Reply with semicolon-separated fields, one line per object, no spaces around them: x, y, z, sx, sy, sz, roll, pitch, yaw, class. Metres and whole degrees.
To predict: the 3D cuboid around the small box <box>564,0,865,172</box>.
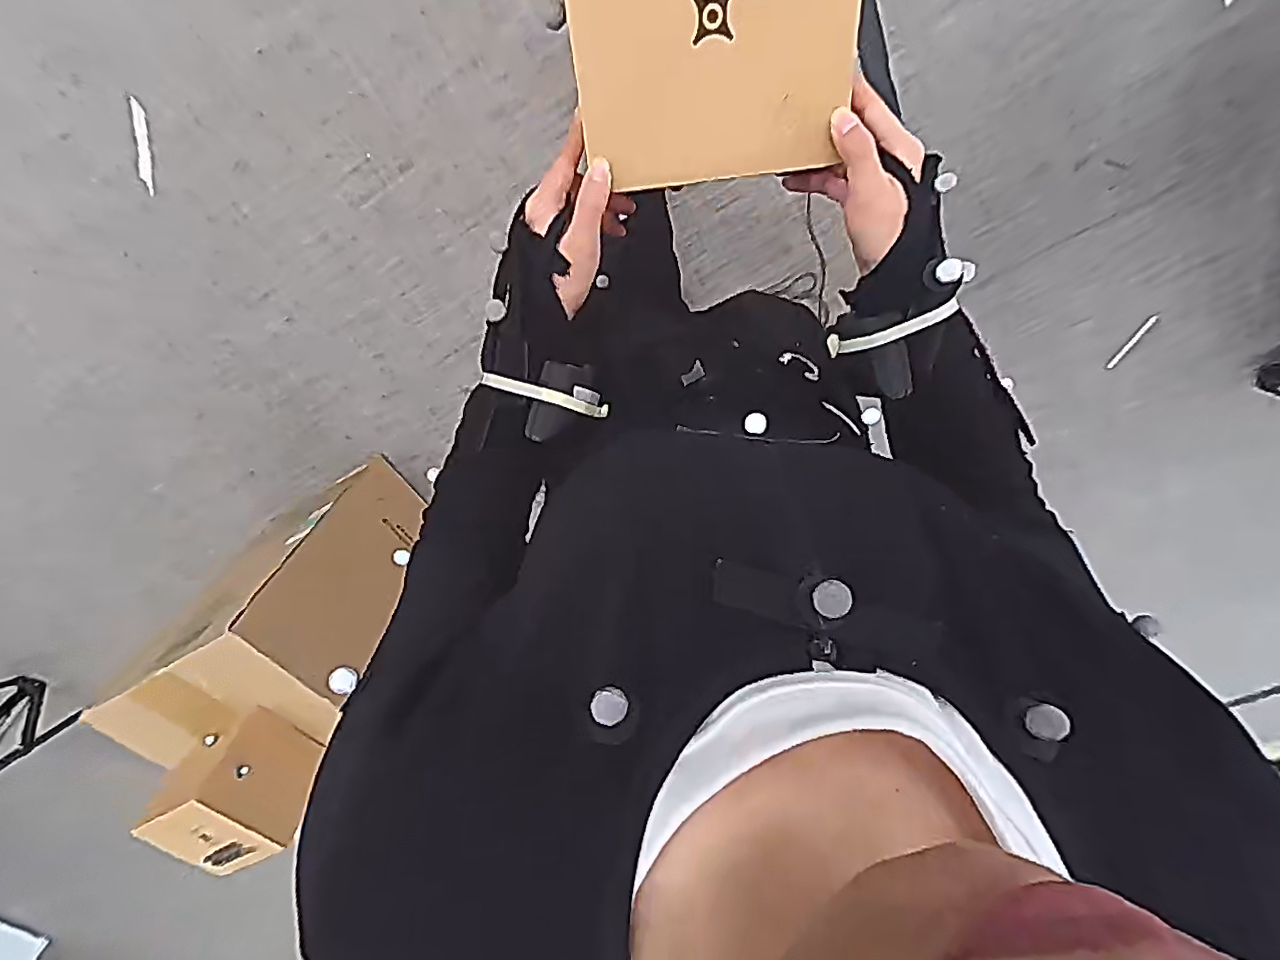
0.040;-0.319;0.349;0.168;0.176;0.179;-6;127;3;small box
